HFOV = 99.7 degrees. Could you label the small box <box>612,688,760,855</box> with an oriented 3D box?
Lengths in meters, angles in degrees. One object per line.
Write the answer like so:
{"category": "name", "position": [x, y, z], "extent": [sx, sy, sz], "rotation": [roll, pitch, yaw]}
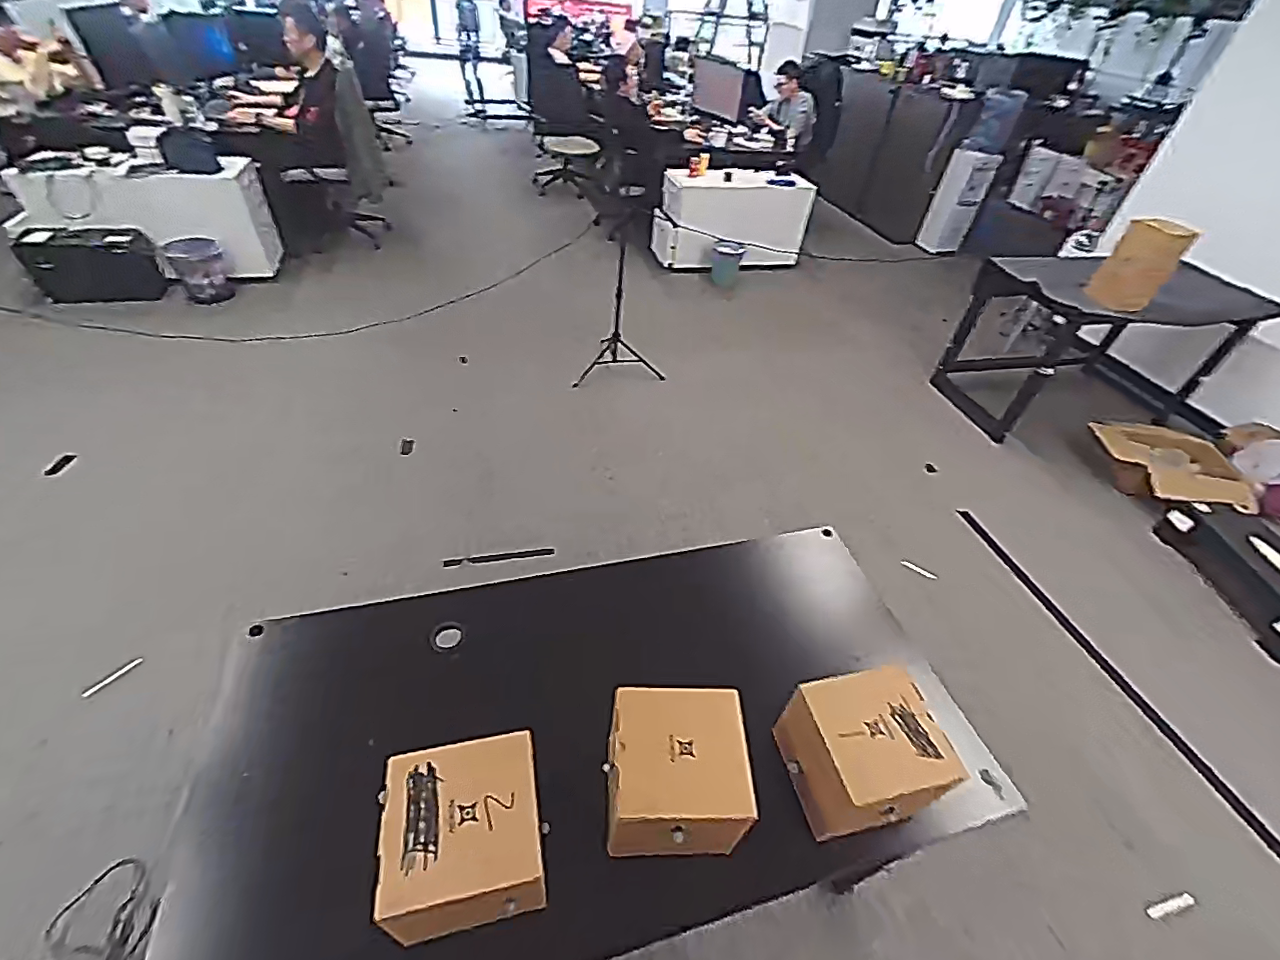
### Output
{"category": "small box", "position": [0.053, 0.410, 0.761], "extent": [0.179, 0.176, 0.168], "rotation": [1, 43, -4]}

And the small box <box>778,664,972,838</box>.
{"category": "small box", "position": [0.330, 0.400, 0.800], "extent": [0.179, 0.176, 0.168], "rotation": [-7, 44, -12]}
